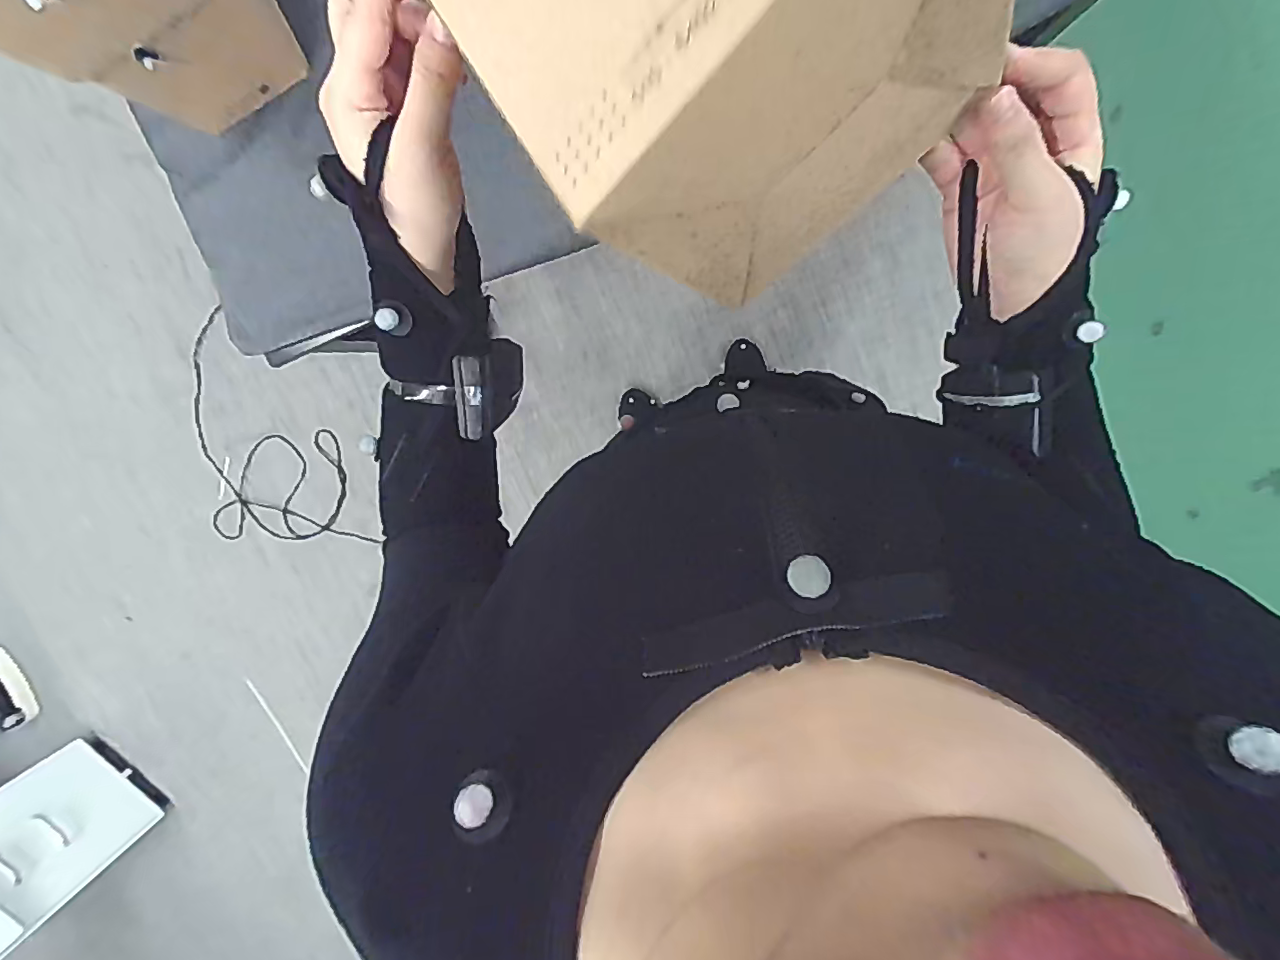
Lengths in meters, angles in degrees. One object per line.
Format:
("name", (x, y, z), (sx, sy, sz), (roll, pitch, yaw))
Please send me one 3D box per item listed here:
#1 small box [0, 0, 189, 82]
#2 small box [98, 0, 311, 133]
("small box", (-0.529, -0.483, 0.444), (0.179, 0.176, 0.168), (-23, 101, 11))
("small box", (-0.522, -0.537, 0.600), (0.168, 0.176, 0.179), (-24, 100, 10))
